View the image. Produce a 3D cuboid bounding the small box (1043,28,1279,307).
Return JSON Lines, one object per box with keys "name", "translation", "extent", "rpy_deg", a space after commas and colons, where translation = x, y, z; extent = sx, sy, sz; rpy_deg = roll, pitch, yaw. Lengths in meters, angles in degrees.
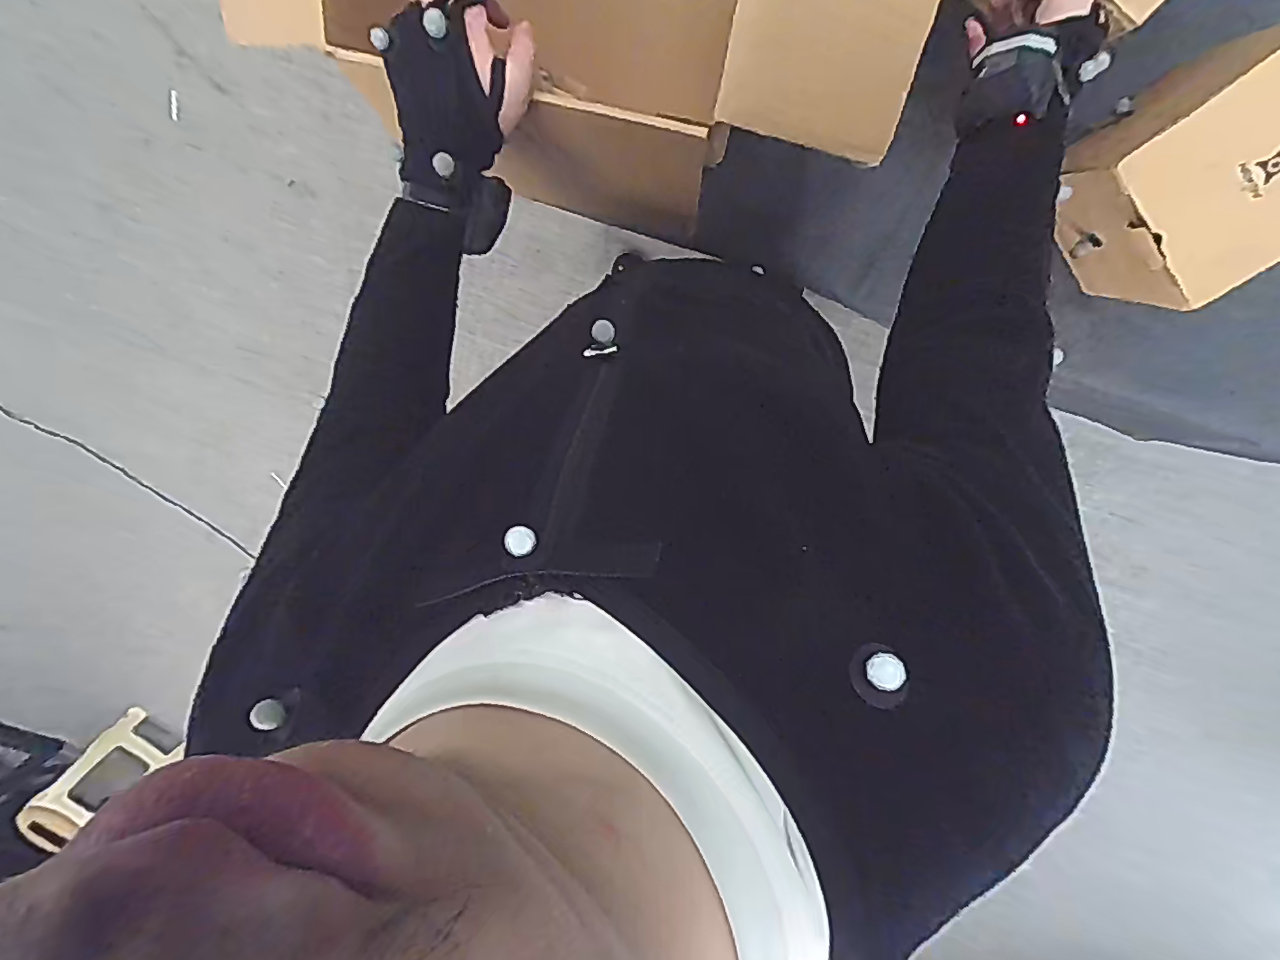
{"name": "small box", "translation": [0.555, -0.304, 0.547], "extent": [0.179, 0.176, 0.168], "rpy_deg": [-35, 105, 23]}
